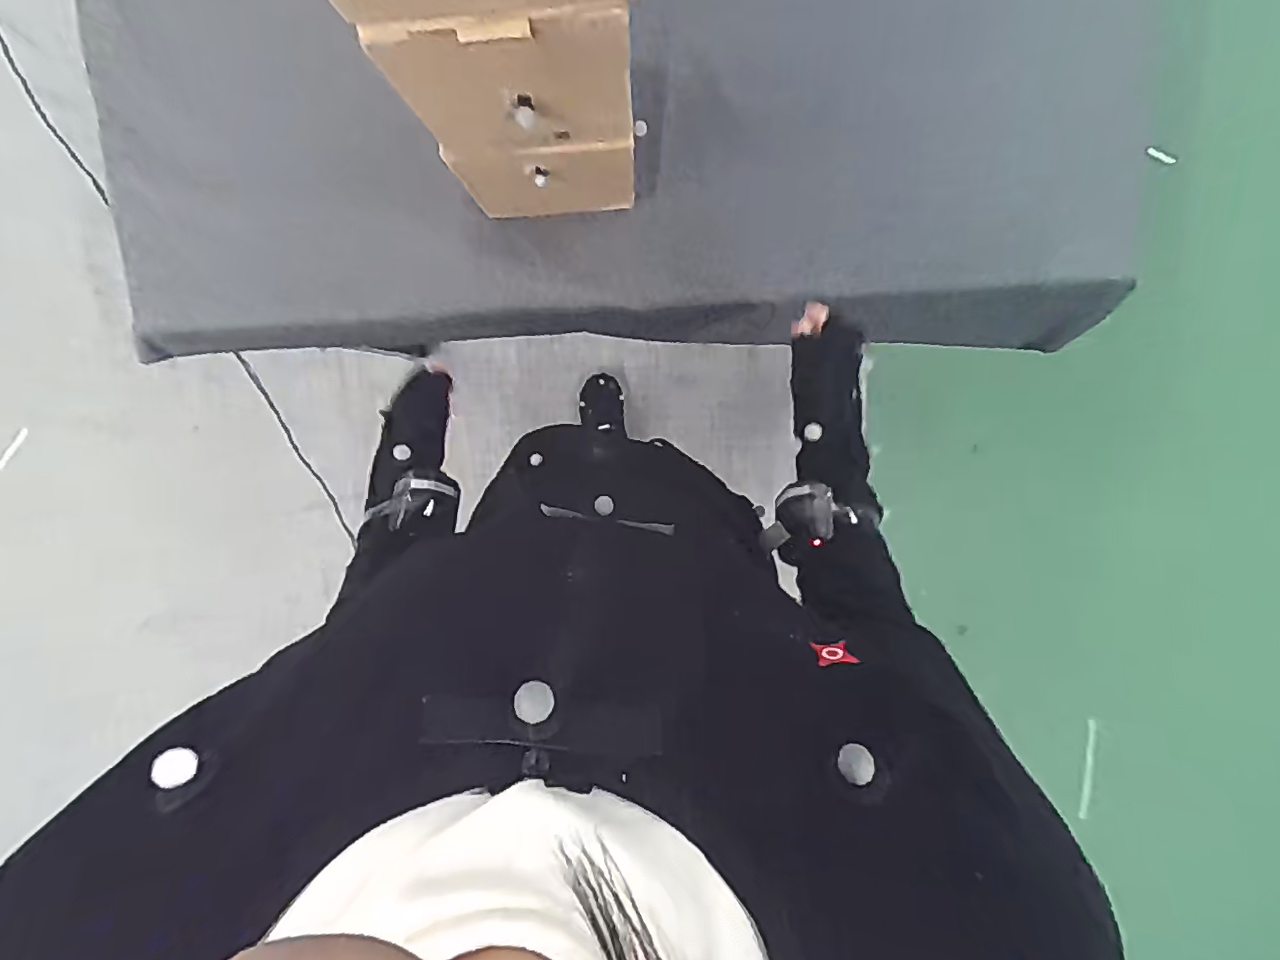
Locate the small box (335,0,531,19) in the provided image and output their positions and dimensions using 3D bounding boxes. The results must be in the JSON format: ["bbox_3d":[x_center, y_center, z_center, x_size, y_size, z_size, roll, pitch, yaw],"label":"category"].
[{"bbox_3d":[-0.094,-0.340,0.221,0.179,0.176,0.168,-7,100,0],"label":"small box"}]

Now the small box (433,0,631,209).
[{"bbox_3d":[-0.100,-0.388,0.545,0.179,0.176,0.168,-4,100,-1],"label":"small box"}]

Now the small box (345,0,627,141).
[{"bbox_3d":[-0.099,-0.367,0.384,0.168,0.176,0.179,-5,100,1],"label":"small box"}]
